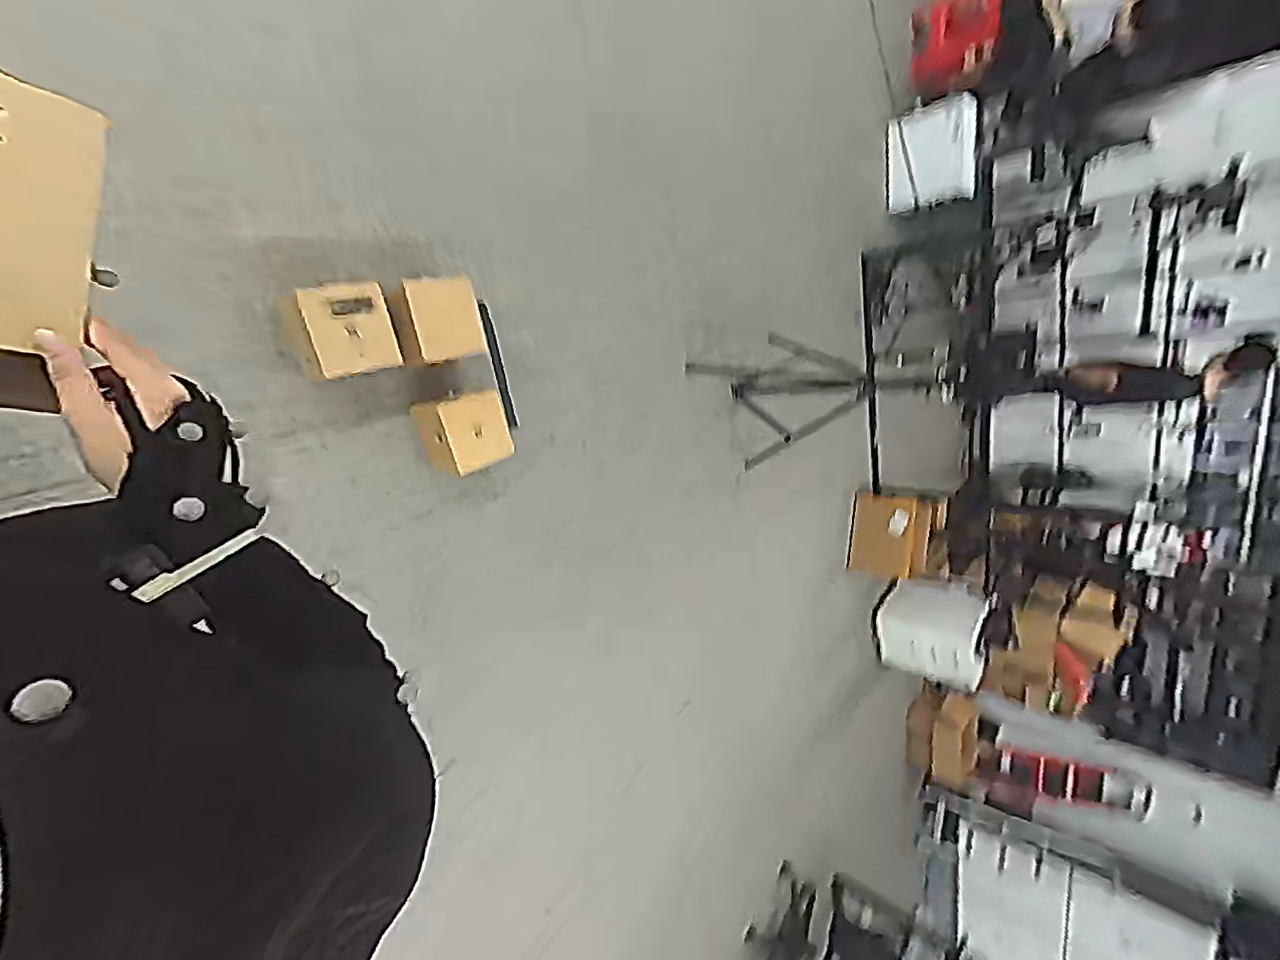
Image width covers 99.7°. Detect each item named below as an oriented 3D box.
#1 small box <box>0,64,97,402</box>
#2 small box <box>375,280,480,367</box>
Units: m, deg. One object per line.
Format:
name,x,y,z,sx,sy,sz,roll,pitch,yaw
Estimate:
small box,-0.466,-0.157,0.334,0.168,0.176,0.179,6,78,-49
small box,-0.513,-0.379,1.317,0.168,0.176,0.179,-22,110,-42
